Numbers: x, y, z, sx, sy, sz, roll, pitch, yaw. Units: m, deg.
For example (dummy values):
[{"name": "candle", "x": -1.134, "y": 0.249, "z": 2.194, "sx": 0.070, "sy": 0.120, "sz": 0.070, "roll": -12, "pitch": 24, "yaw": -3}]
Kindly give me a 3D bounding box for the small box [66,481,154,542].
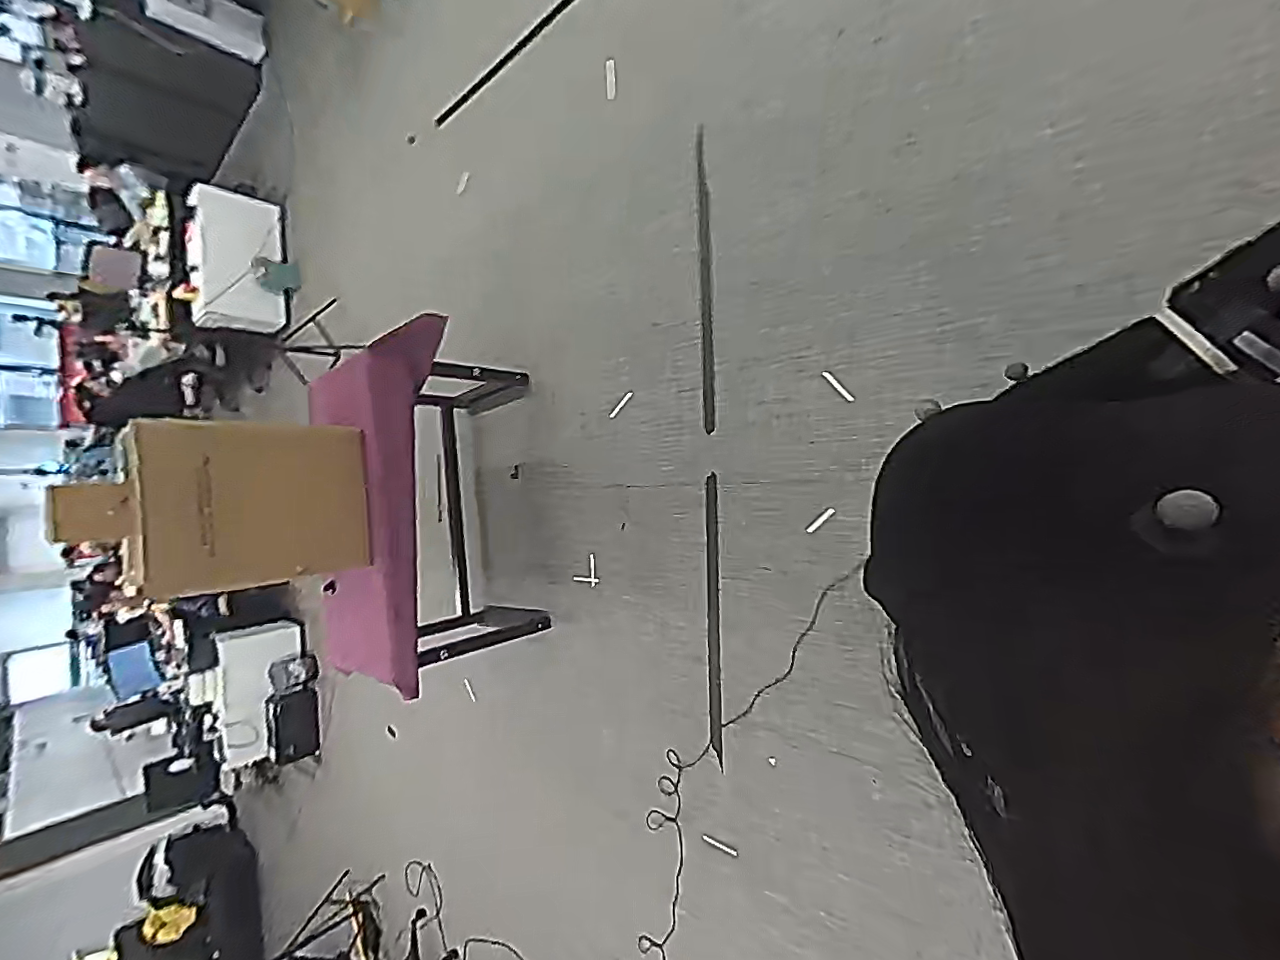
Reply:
[{"name": "small box", "x": -1.545, "y": 0.088, "z": 1.577, "sx": 0.179, "sy": 0.176, "sz": 0.168, "roll": -3, "pitch": 90, "yaw": 40}]
